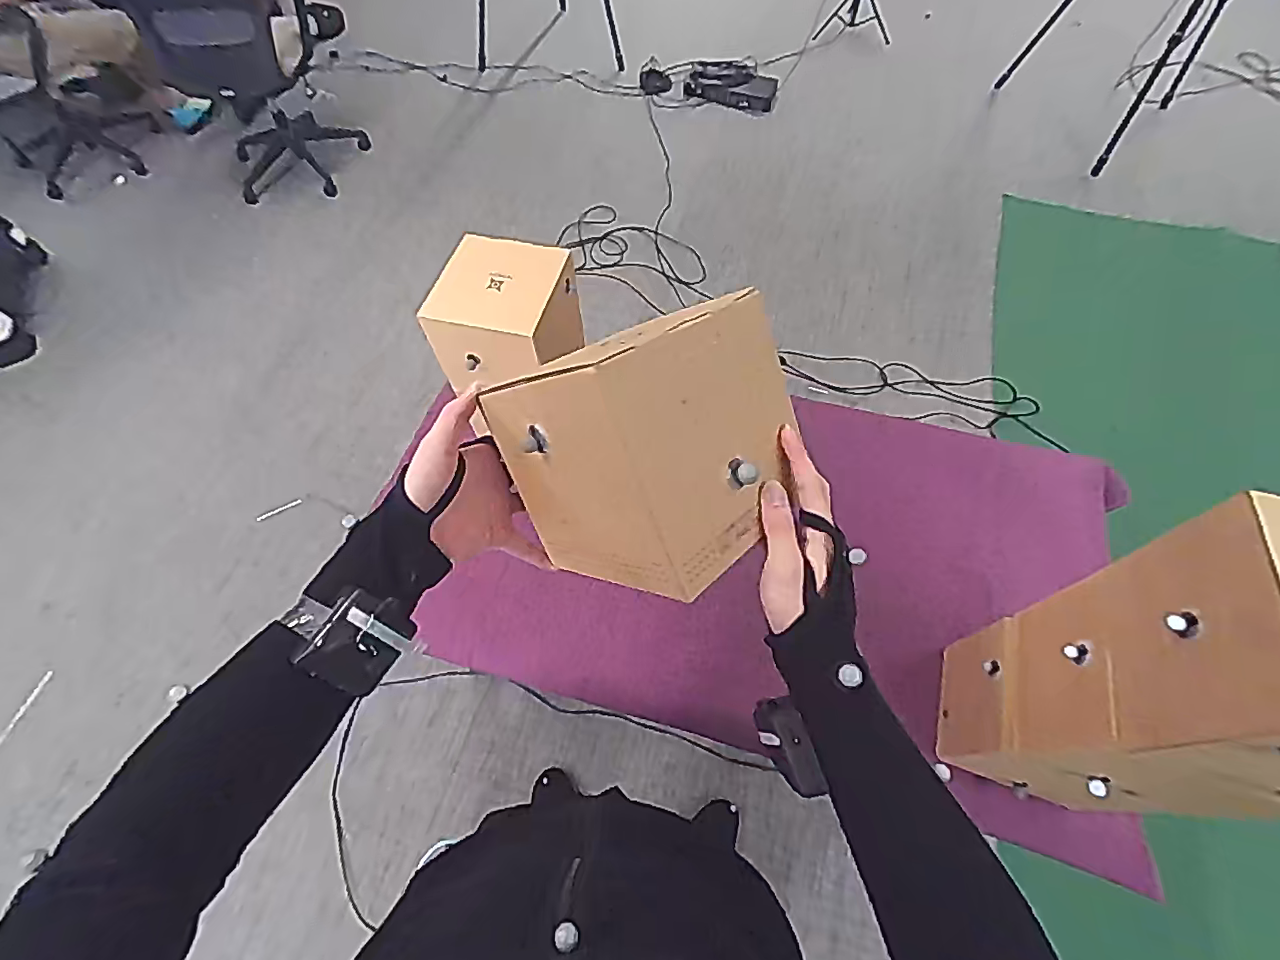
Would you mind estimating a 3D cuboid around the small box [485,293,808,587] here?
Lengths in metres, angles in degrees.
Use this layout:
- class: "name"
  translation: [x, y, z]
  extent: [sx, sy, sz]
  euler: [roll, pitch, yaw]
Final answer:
- class: "small box"
  translation: [0.008, -0.031, 0.445]
  extent: [0.168, 0.176, 0.179]
  euler: [-34, 22, -35]

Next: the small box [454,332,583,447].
- class: "small box"
  translation: [-0.198, -0.163, 0.967]
  extent: [0.179, 0.176, 0.168]
  euler: [11, 62, 7]

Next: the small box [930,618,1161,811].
- class: "small box"
  translation: [0.513, 0.304, 0.705]
  extent: [0.179, 0.176, 0.168]
  euler: [18, 62, 10]

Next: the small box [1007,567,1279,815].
- class: "small box"
  translation: [0.515, 0.221, 0.564]
  extent: [0.168, 0.176, 0.179]
  euler: [17, 62, 12]

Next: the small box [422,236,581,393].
- class: "small box"
  translation: [-0.195, -0.235, 0.823]
  extent: [0.168, 0.176, 0.179]
  euler: [11, 62, 7]
